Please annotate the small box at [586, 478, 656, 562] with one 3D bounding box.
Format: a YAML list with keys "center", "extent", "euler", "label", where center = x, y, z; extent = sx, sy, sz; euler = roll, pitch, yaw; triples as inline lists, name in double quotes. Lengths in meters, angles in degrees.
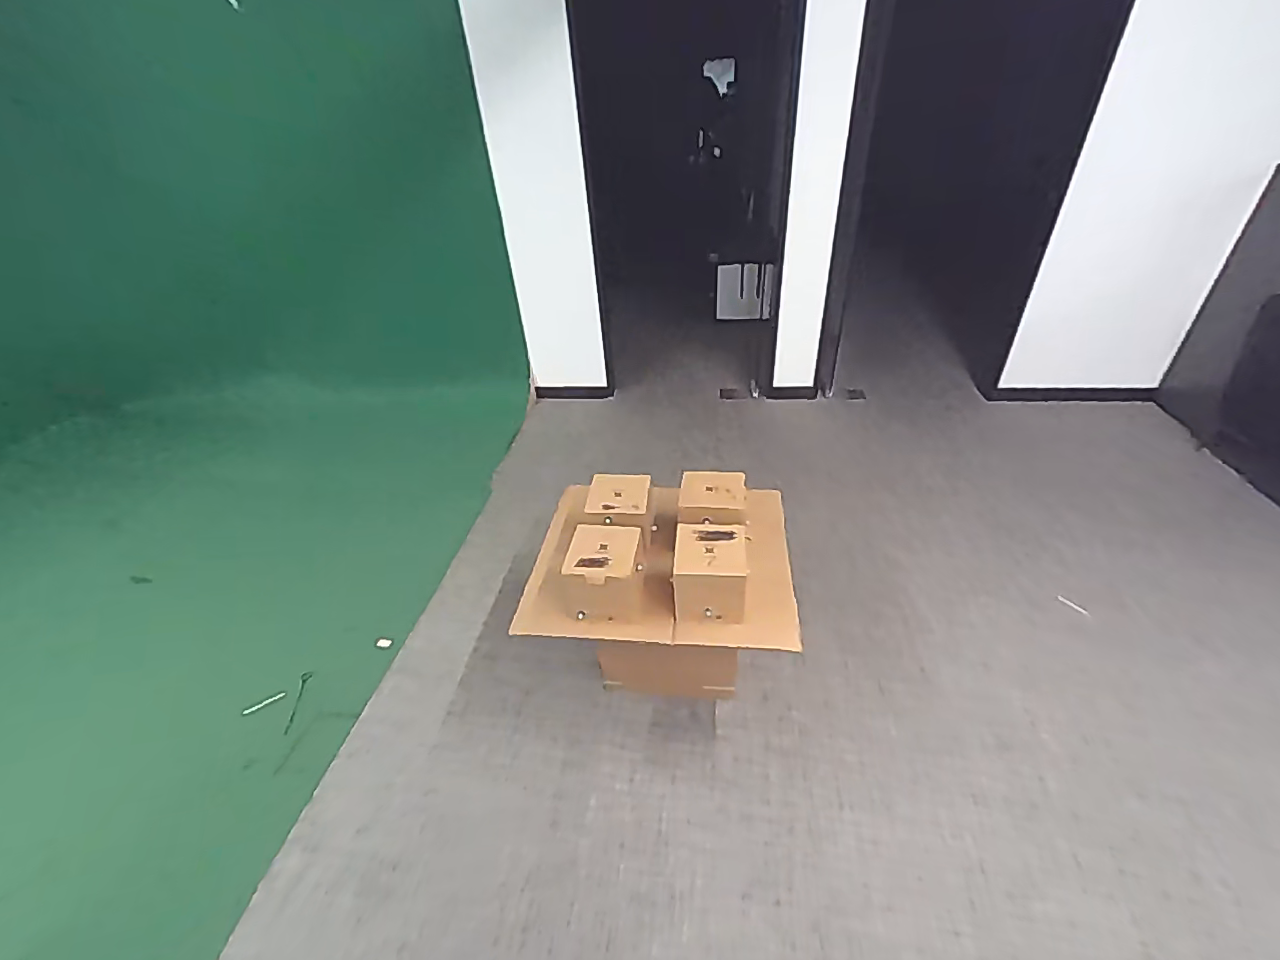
- center: [-0.047, 0.110, 1.518]
  extent: [0.168, 0.176, 0.179]
  euler: [-1, 34, 8]
  label: "small box"
